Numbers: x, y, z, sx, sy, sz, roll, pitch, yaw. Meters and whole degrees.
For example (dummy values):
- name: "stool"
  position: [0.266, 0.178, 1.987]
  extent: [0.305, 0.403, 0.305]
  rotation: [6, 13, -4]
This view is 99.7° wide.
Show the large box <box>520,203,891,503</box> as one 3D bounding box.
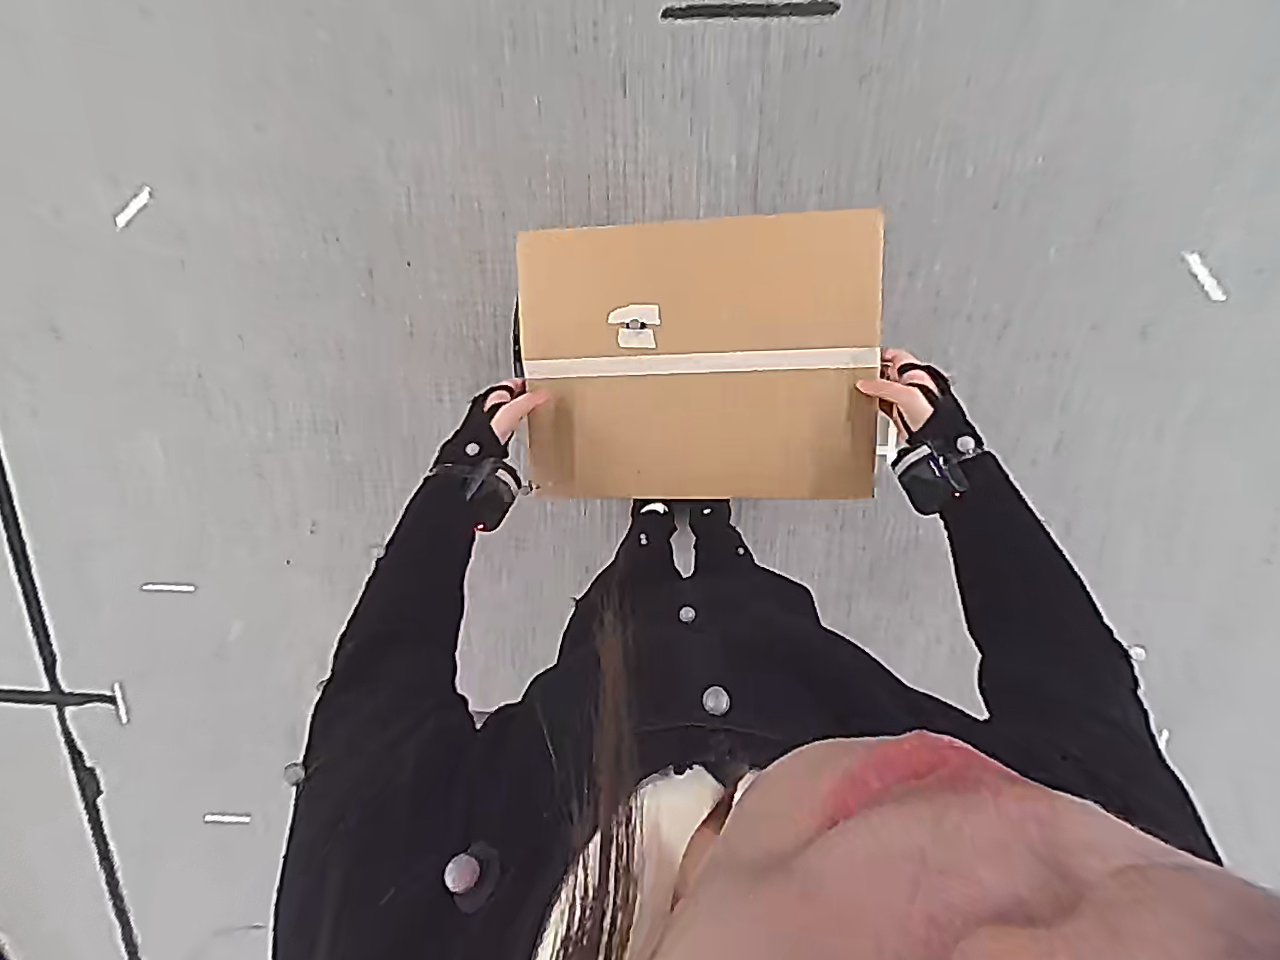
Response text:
- name: "large box"
  position: [0.090, -0.150, 0.743]
  extent: [0.408, 0.320, 0.320]
  rotation: [0, 98, 9]

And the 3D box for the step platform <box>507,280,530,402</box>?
- name: "step platform"
  position: [0.038, -0.289, 1.272]
  extent: [0.684, 0.204, 0.286]
  rotation: [8, 103, 1]
